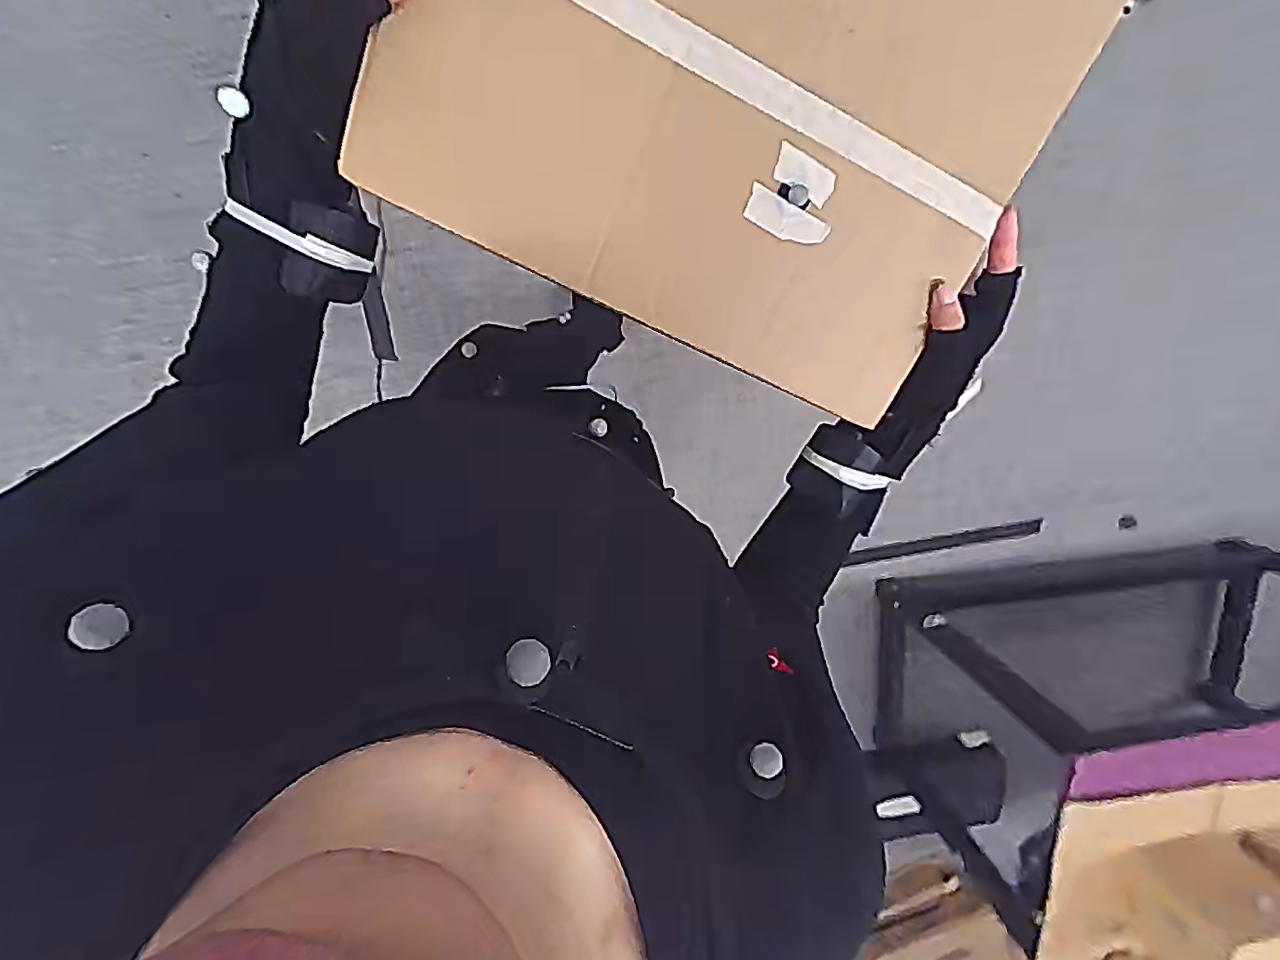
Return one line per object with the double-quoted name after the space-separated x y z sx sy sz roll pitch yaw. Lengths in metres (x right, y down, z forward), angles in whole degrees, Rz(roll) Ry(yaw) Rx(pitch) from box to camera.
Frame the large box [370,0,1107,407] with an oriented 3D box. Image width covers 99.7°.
0.051 -0.308 0.486 0.408 0.320 0.320 22 107 -12 "large box"
